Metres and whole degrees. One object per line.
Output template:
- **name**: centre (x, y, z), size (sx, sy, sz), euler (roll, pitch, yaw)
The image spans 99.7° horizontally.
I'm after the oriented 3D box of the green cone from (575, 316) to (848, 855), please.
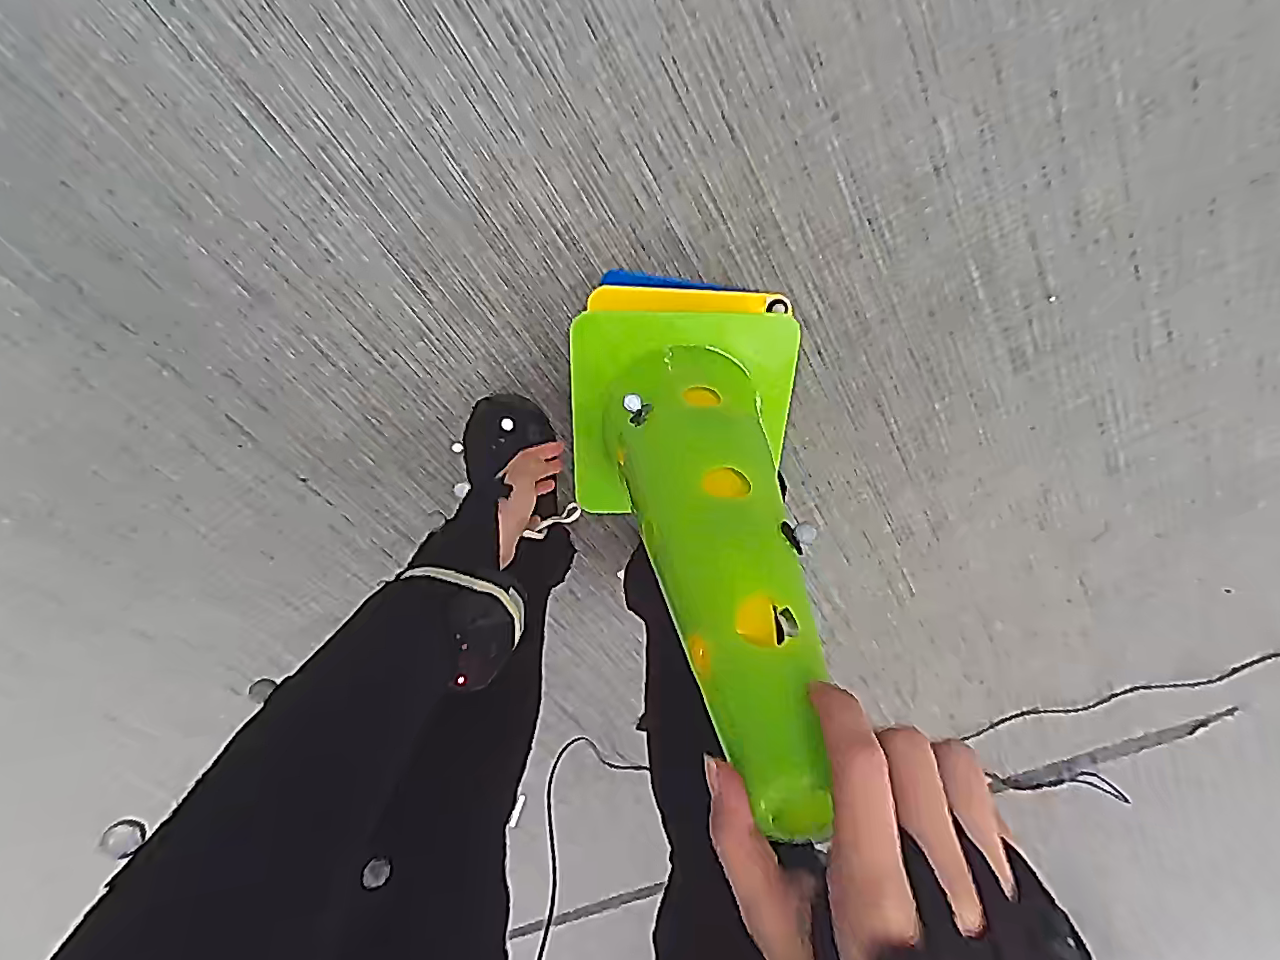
- **green cone**: centre (0.052, 0.033, 0.348), size (0.202, 0.368, 0.200), euler (-1, 119, -3)
